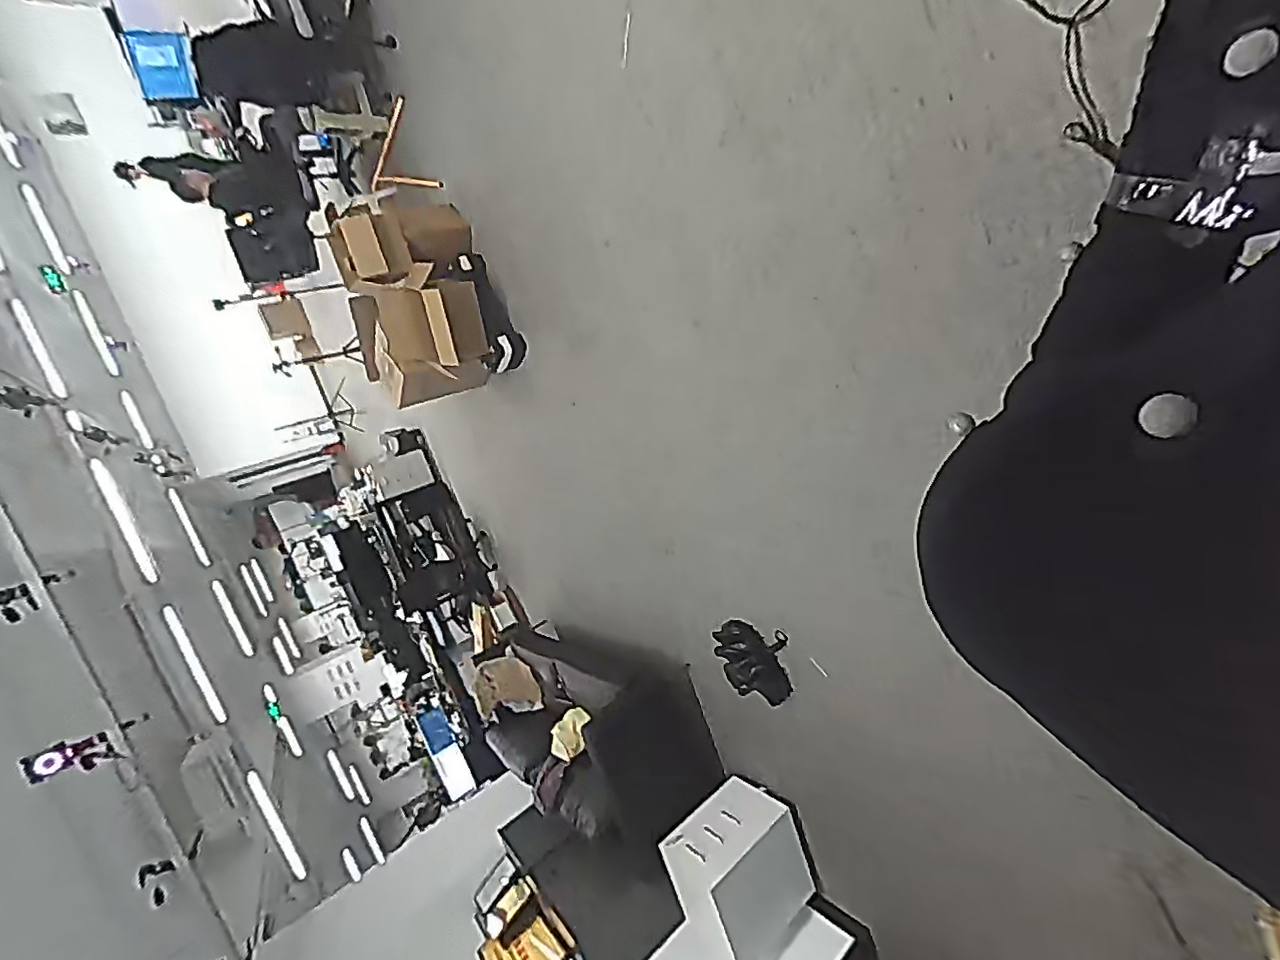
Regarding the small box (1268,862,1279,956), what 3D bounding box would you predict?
[{"bbox_3d":[0.971,0.622,0.702,0.168,0.176,0.179,-17,95,58],"label":"small box"}]
